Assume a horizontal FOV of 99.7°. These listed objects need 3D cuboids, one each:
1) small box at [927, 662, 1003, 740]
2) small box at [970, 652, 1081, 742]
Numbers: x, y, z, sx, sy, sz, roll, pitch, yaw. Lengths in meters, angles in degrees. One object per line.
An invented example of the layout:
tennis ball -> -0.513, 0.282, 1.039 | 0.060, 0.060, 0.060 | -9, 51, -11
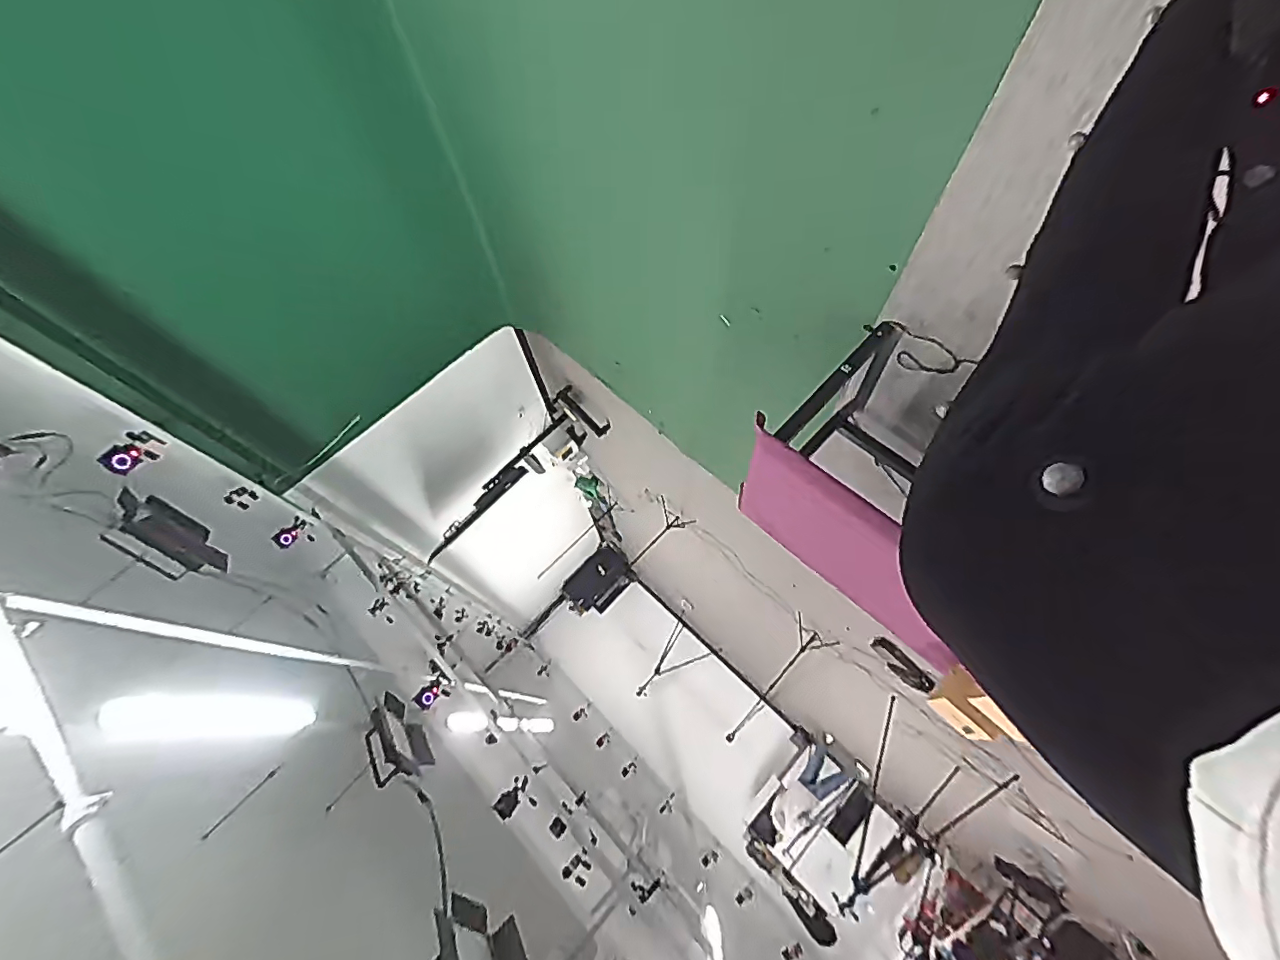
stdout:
small box -> 1.112, 0.733, 1.800 | 0.179, 0.176, 0.168 | 42, 164, 20
small box -> 1.093, 0.614, 1.535 | 0.168, 0.176, 0.179 | 40, 166, 21
